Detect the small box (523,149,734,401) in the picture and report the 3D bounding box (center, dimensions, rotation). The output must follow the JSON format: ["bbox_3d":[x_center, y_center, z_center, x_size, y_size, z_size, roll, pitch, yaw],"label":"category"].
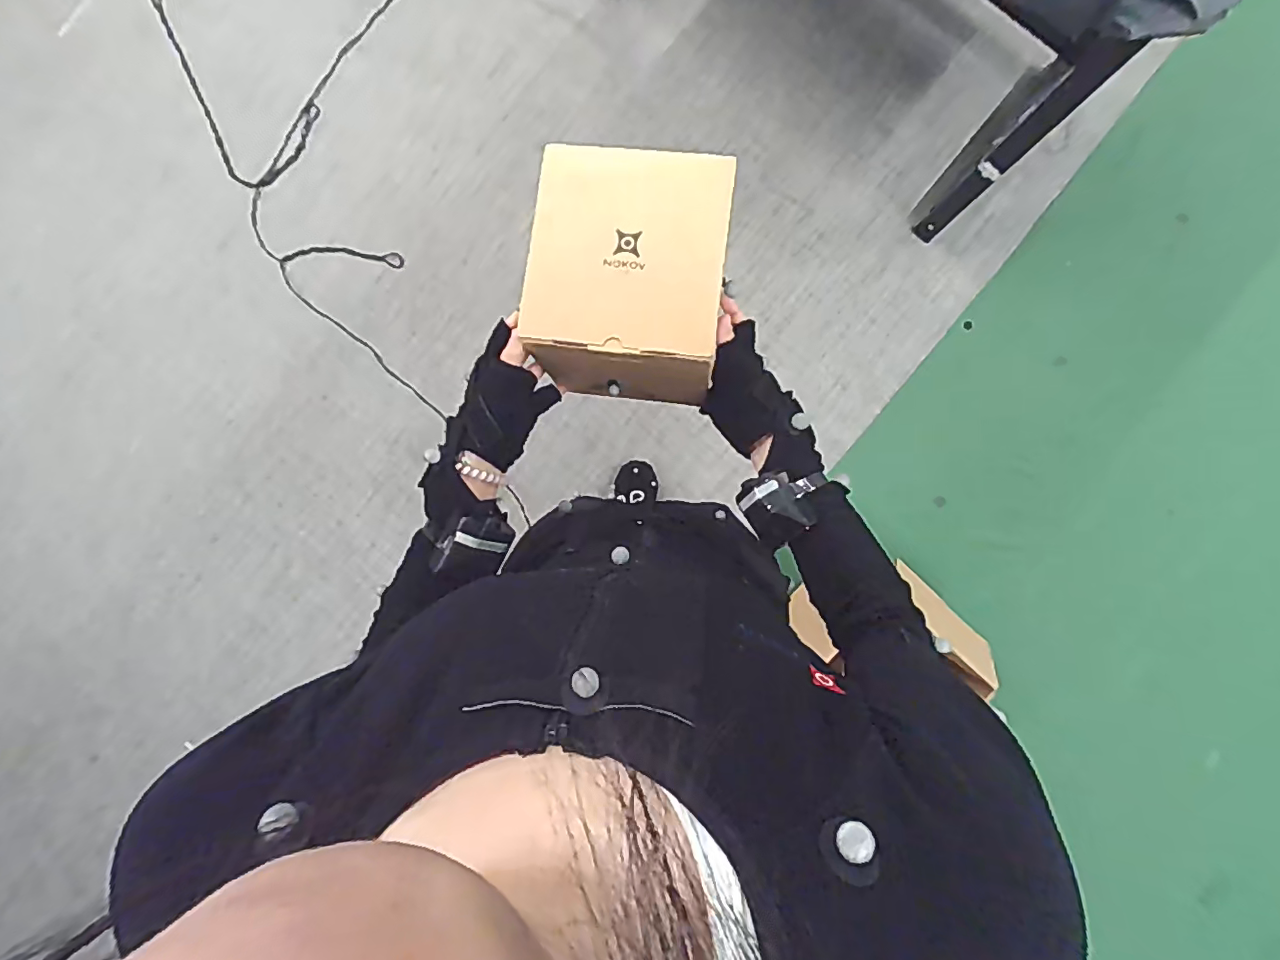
[{"bbox_3d":[-0.006,-0.190,0.544,0.168,0.176,0.179,7,87,4],"label":"small box"}]
